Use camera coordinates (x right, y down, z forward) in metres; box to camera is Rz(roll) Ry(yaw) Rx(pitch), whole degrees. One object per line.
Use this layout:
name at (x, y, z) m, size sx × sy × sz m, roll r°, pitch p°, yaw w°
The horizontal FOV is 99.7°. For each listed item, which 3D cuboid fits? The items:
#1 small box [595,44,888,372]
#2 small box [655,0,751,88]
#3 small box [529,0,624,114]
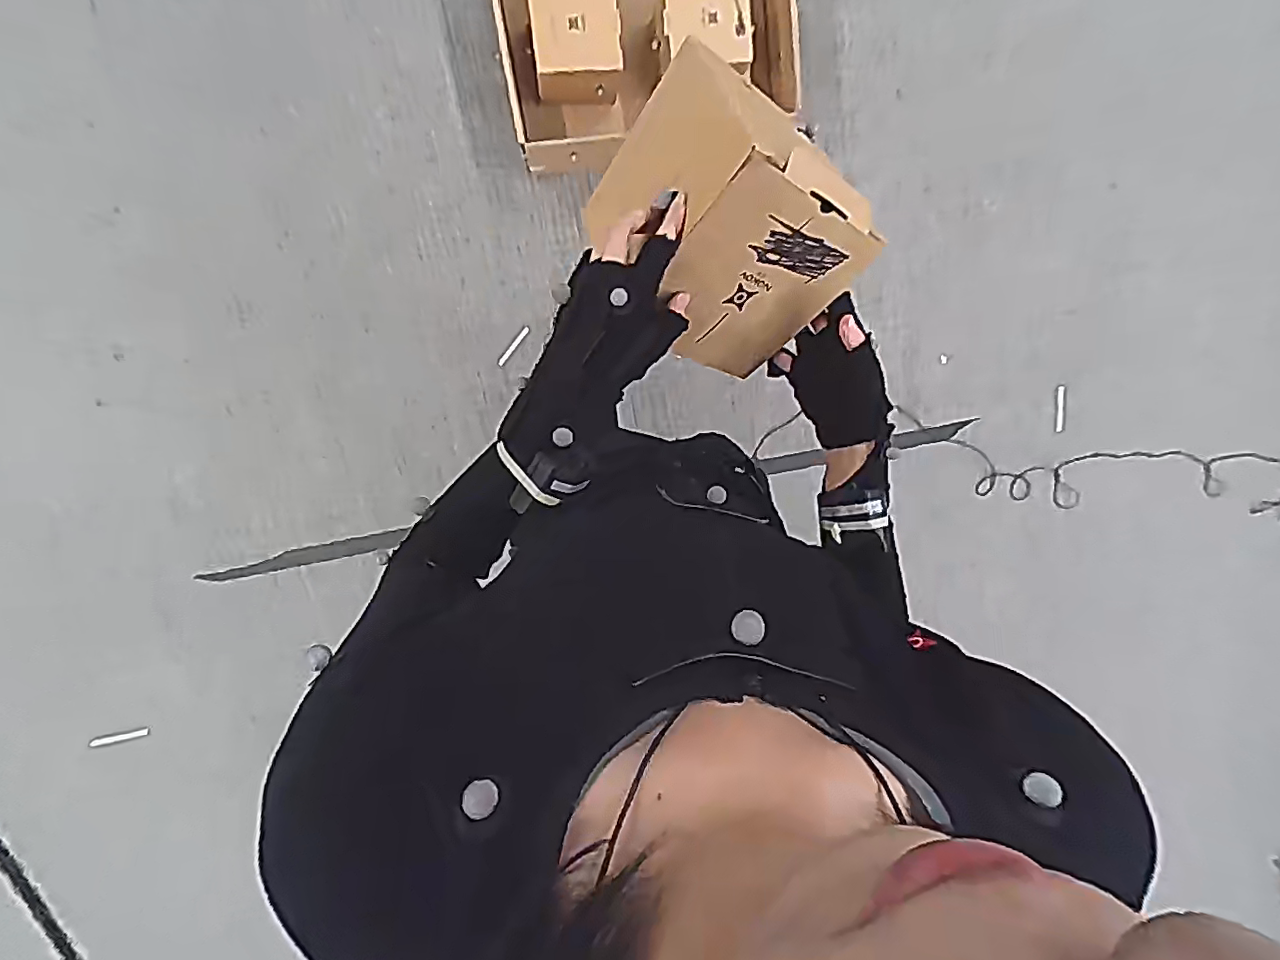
small box at (0.075, -0.233, 0.488) m, size 0.168 × 0.176 × 0.179 m, roll 11°, pitch 142°, yaw -35°
small box at (0.129, -0.938, 1.173) m, size 0.179 × 0.176 × 0.168 m, roll -9°, pitch 106°, yaw -3°
small box at (-0.135, -0.904, 1.146) m, size 0.179 × 0.176 × 0.168 m, roll -7°, pitch 104°, yaw -6°
